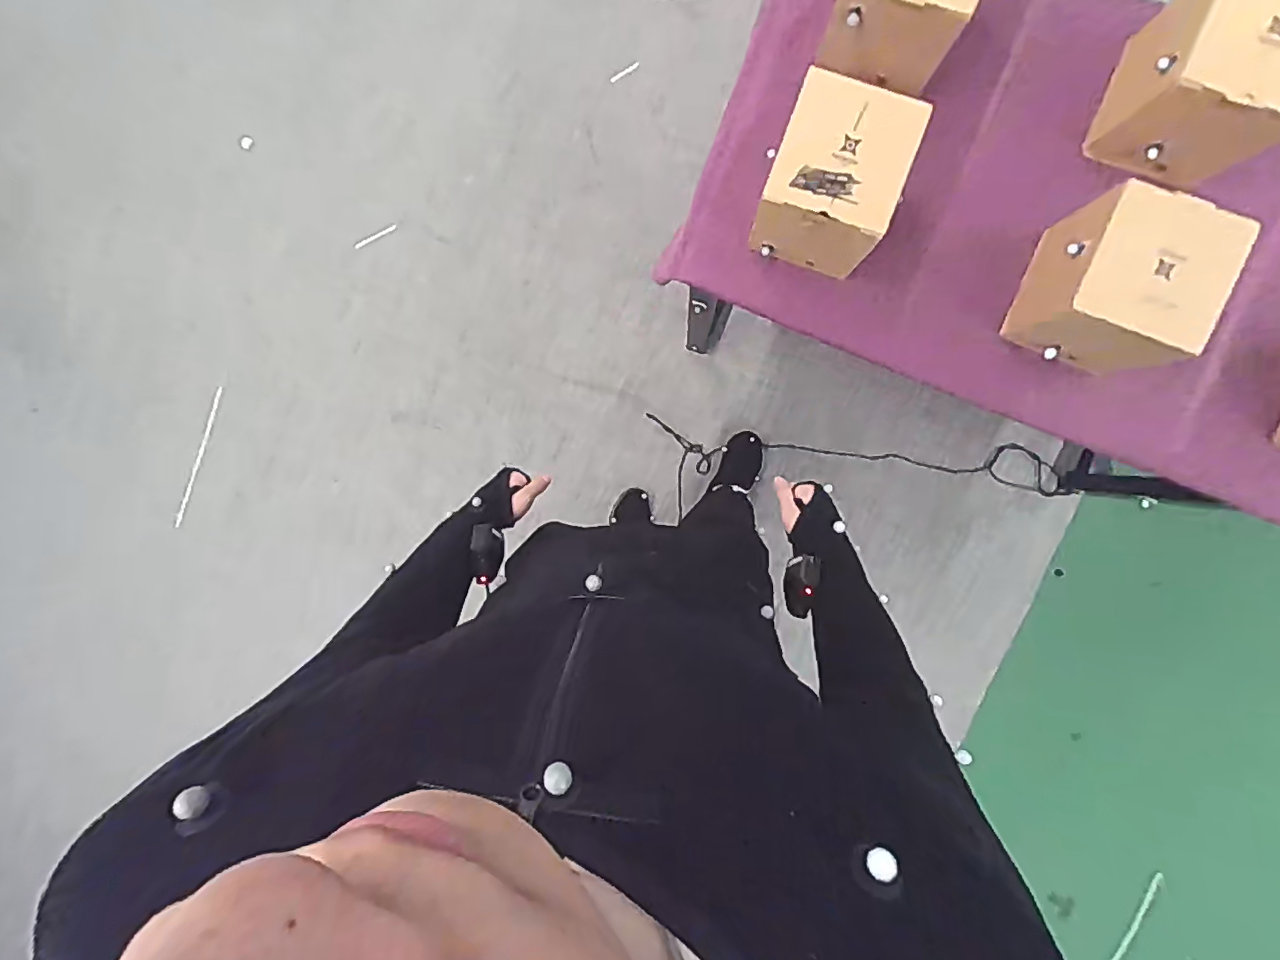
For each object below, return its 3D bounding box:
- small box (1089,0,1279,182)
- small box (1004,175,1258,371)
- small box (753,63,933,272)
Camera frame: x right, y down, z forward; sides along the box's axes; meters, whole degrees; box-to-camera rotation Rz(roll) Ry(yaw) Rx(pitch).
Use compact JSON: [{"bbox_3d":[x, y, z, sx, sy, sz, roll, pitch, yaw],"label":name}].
[{"bbox_3d":[0.766,-0.545,0.726,0.168,0.176,0.179,21,95,2],"label":"small box"},{"bbox_3d":[0.654,-0.271,0.747,0.168,0.176,0.179,23,94,3],"label":"small box"},{"bbox_3d":[0.268,-0.422,0.762,0.168,0.176,0.179,20,93,2],"label":"small box"}]
